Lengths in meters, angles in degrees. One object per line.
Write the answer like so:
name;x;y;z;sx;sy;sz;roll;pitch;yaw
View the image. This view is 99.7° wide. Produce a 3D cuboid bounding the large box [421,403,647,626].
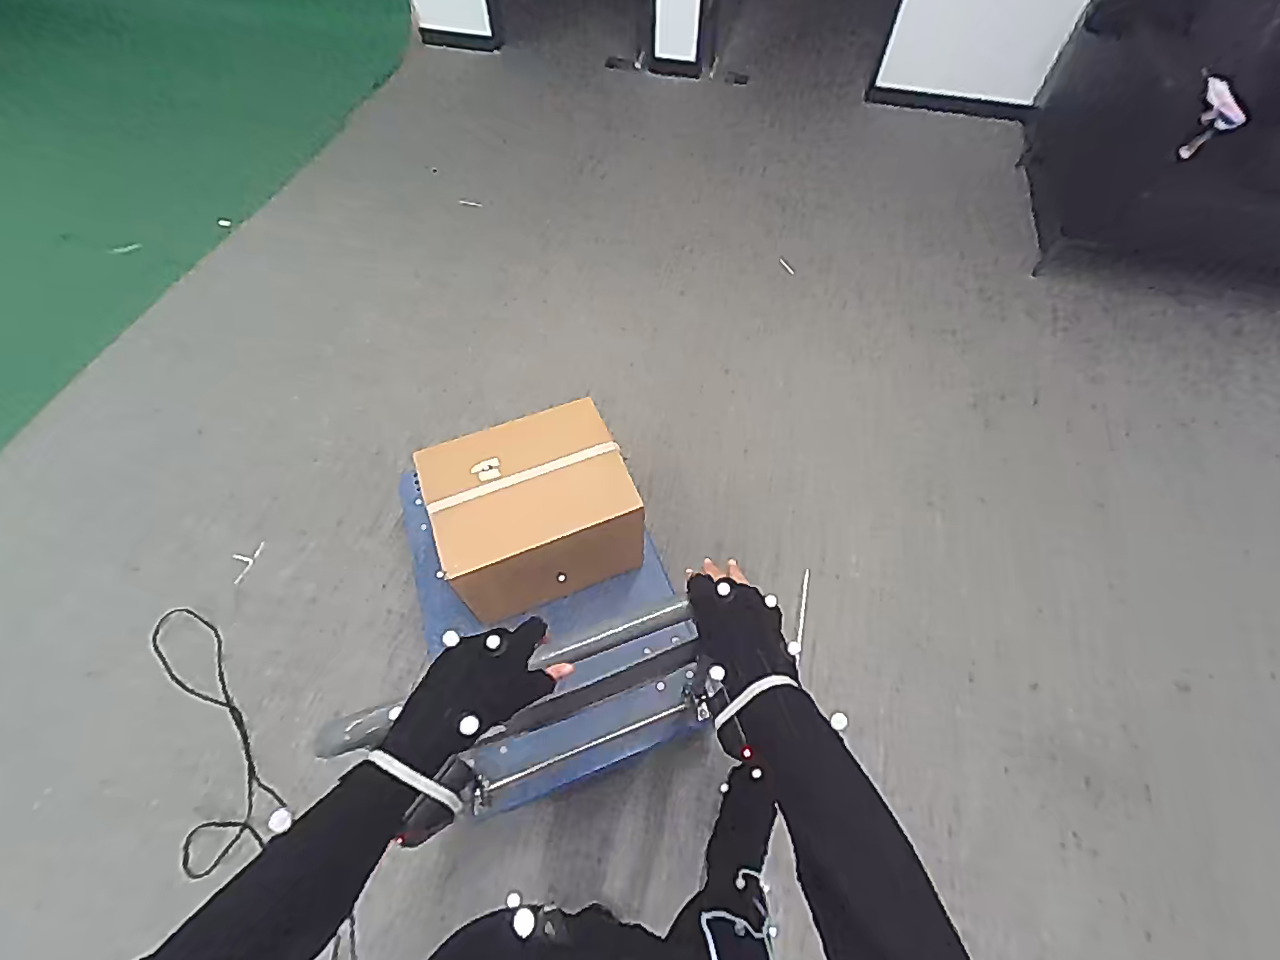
large box;-0.227;0.085;1.247;0.408;0.320;0.320;-20;60;-12
